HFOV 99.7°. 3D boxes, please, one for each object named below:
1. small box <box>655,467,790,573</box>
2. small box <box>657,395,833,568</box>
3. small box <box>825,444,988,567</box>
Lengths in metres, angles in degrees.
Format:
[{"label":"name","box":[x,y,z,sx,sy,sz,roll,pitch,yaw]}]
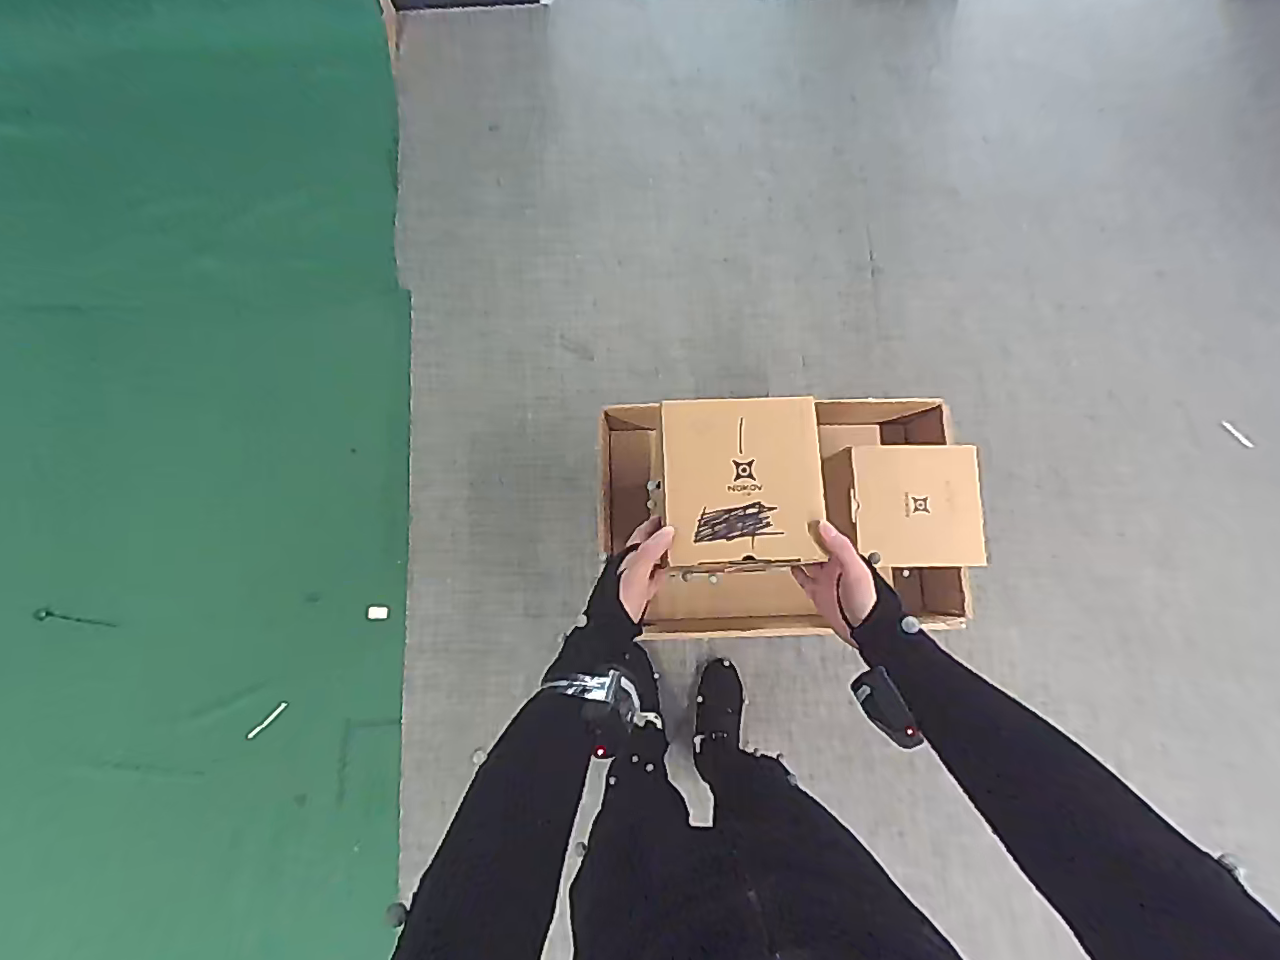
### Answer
[{"label":"small box","box":[0.109,0.046,0.790,0.168,0.176,0.179,-1,81,-1]},{"label":"small box","box":[0.108,0.012,0.628,0.168,0.176,0.179,-1,78,-2]},{"label":"small box","box":[0.371,0.044,0.800,0.179,0.176,0.168,0,83,-2]}]
